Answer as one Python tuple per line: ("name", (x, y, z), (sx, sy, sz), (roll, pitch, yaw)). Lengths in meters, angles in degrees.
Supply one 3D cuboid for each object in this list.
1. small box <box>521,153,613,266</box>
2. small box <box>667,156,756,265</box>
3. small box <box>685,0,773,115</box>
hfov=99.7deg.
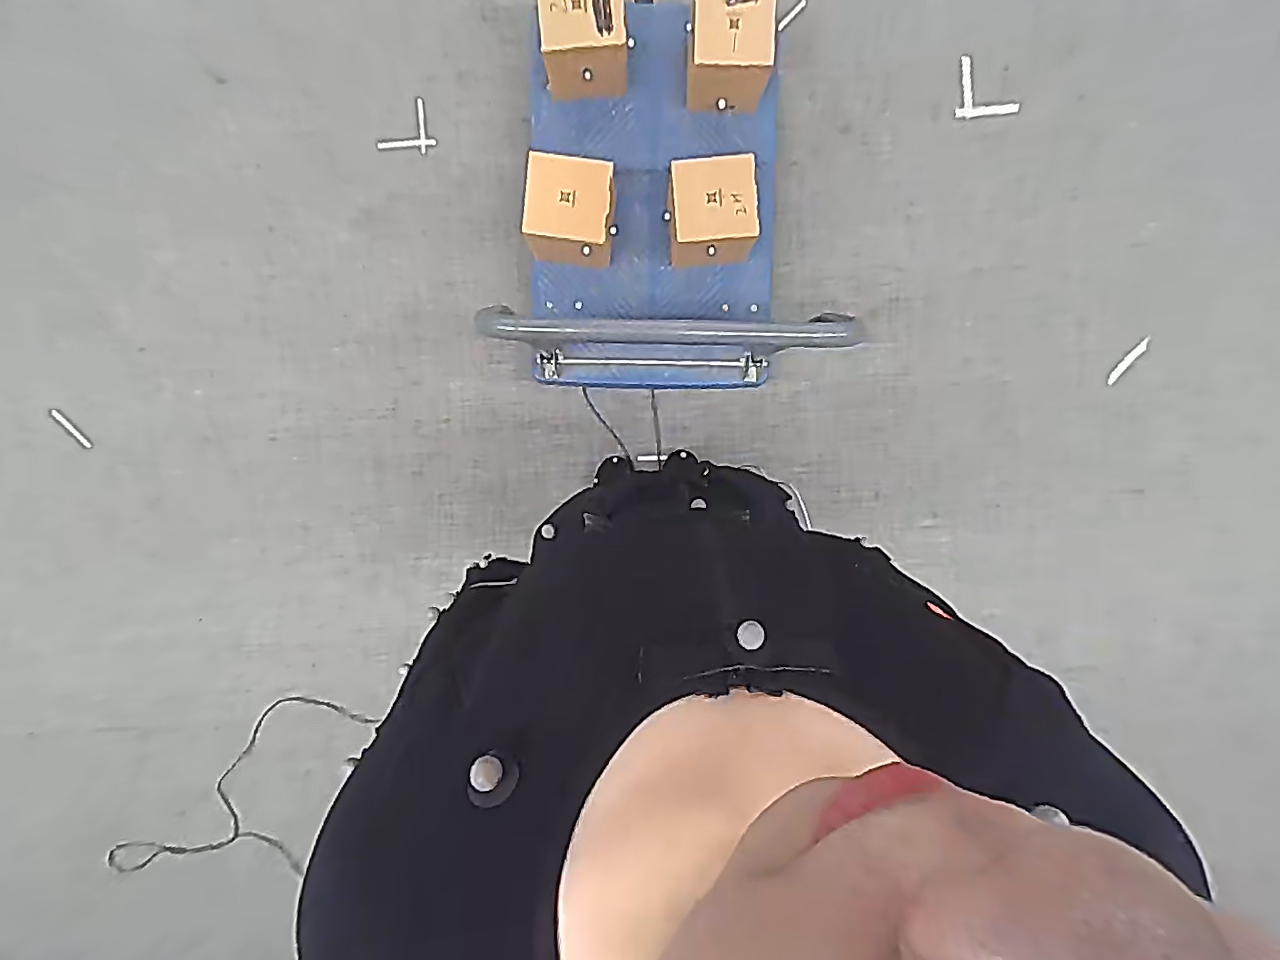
("small box", (-0.155, -0.591, 1.204), (0.179, 0.176, 0.168), (6, 93, -3))
("small box", (0.152, -0.591, 1.207), (0.179, 0.176, 0.168), (-5, 94, 0))
("small box", (0.187, -0.941, 1.182), (0.168, 0.176, 0.179), (0, 95, -1))
